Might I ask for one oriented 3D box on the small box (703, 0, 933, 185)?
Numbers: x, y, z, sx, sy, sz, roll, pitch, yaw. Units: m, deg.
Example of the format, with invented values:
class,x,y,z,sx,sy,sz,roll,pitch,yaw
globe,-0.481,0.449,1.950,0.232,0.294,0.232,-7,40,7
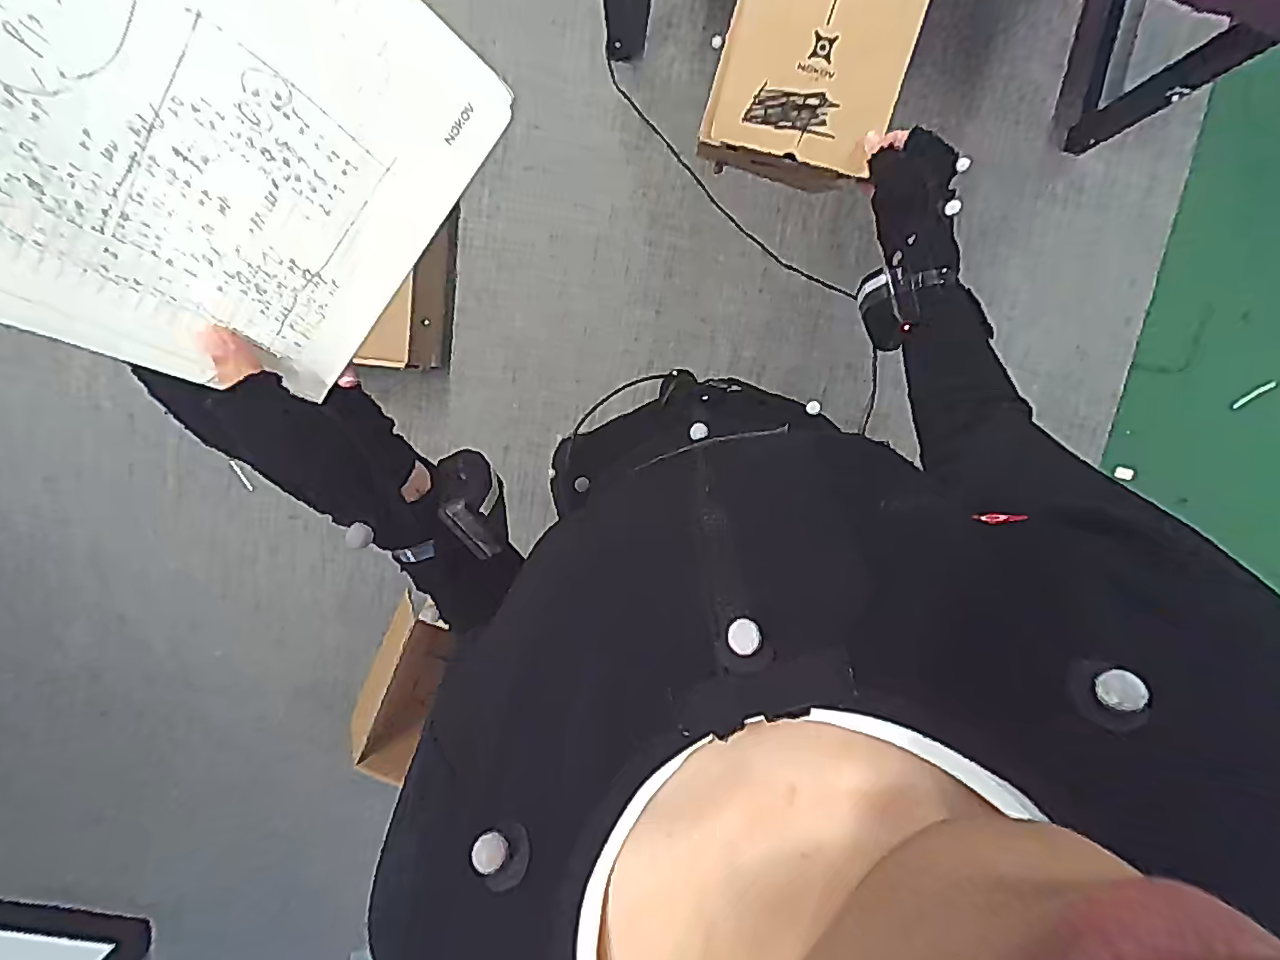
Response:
class,x,y,z,sx,sy,sz,roll,pitch,yaw
small box,0.173,-0.434,0.578,0.168,0.176,0.179,17,116,-4
